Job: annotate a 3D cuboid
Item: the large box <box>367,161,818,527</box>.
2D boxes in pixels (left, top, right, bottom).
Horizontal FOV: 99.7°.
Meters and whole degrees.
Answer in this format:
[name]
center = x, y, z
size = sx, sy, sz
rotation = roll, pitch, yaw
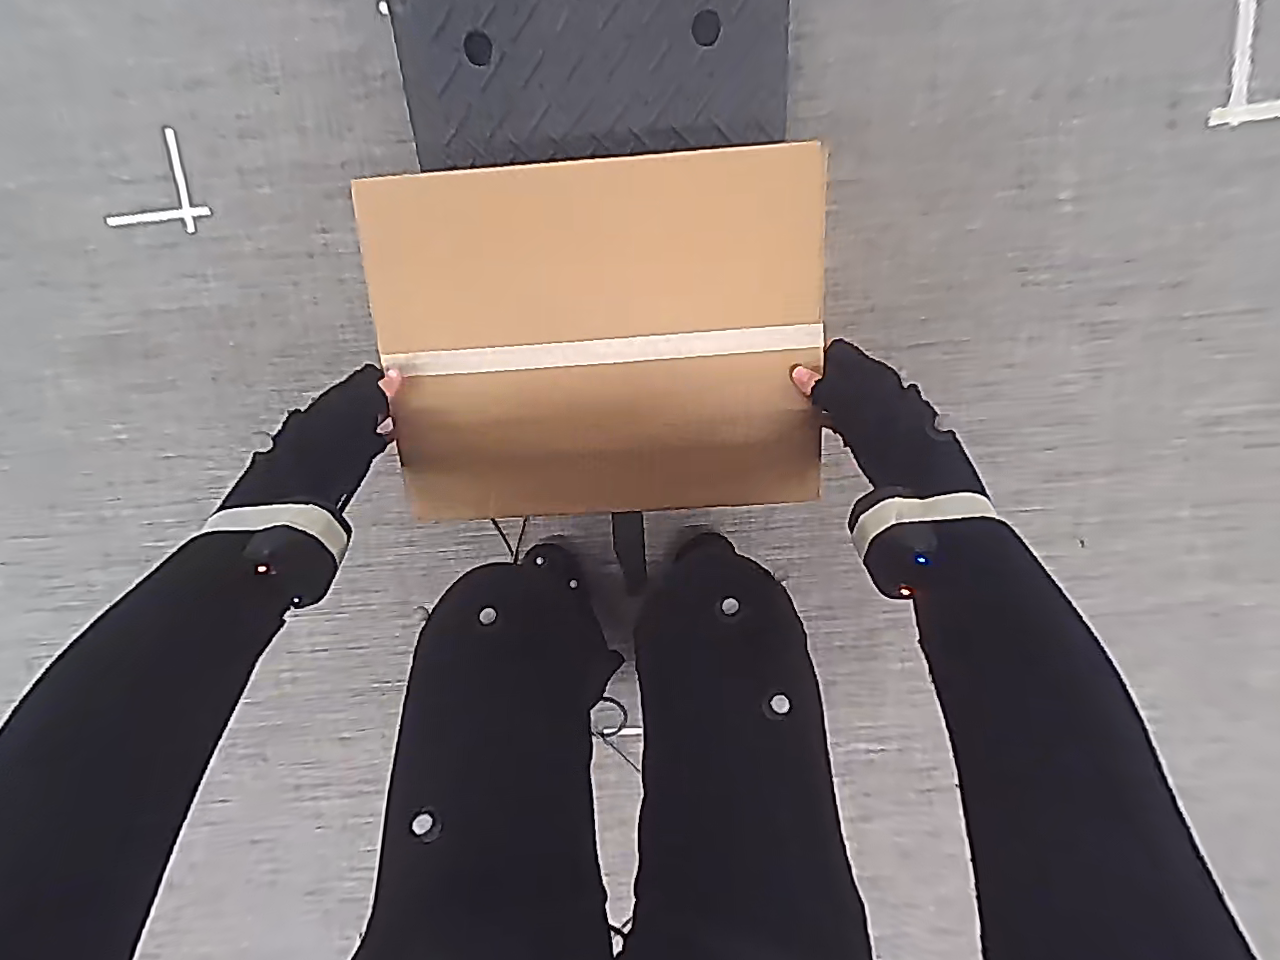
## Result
[large box]
center = -0.030, -0.148, 0.647
size = 0.408, 0.320, 0.320
rotation = -3, 103, 2
